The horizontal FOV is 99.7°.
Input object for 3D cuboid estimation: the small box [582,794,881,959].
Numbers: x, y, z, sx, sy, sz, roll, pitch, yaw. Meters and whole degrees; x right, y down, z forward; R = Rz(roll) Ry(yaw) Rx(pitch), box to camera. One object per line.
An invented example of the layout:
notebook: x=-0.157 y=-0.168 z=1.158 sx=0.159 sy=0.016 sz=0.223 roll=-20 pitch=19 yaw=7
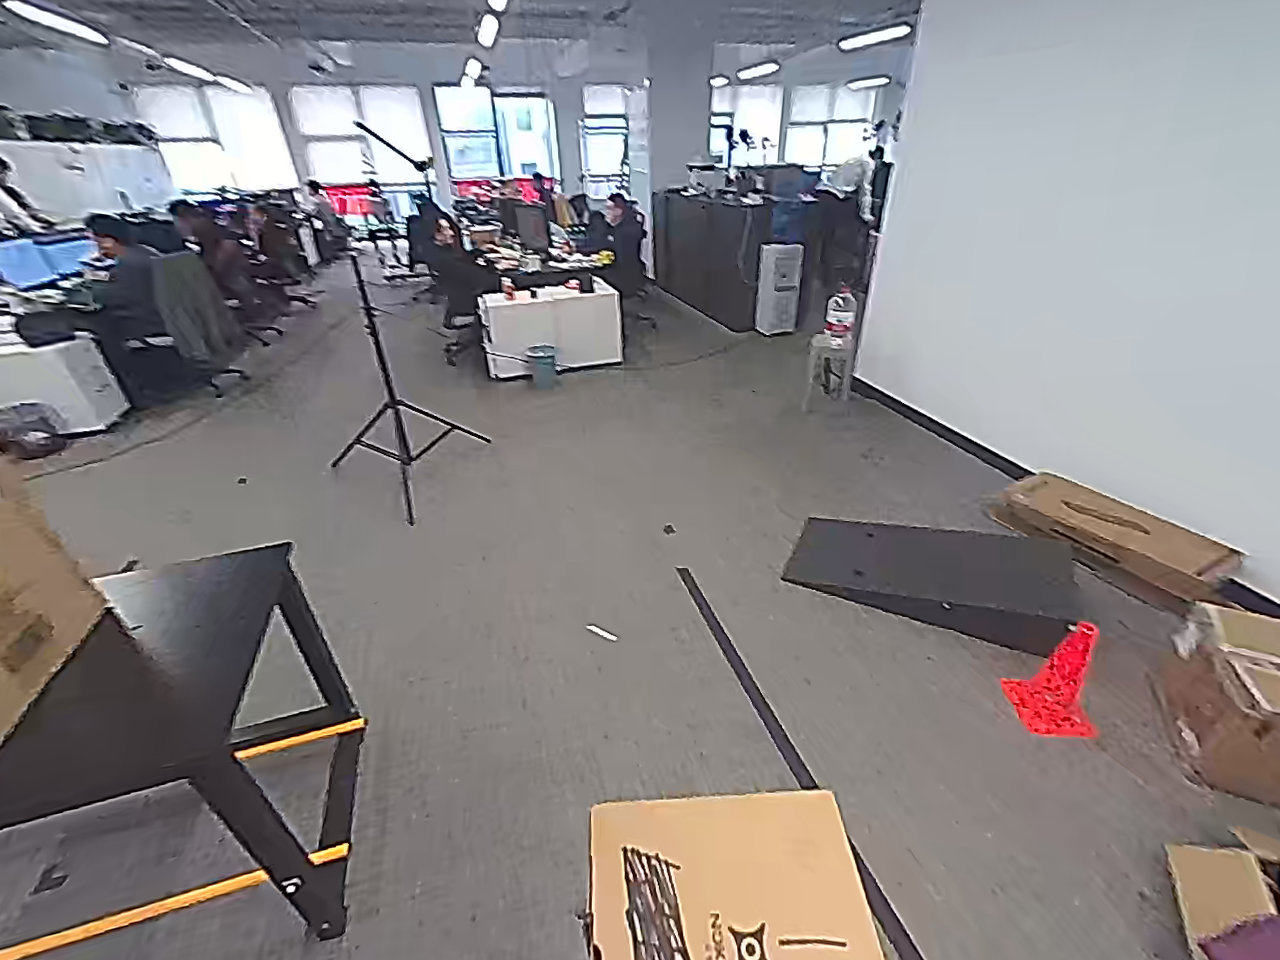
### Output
small box: x=0.052 y=0.338 z=0.368 sx=0.179 sy=0.176 sz=0.168 roll=-1 pitch=41 yaw=-5
